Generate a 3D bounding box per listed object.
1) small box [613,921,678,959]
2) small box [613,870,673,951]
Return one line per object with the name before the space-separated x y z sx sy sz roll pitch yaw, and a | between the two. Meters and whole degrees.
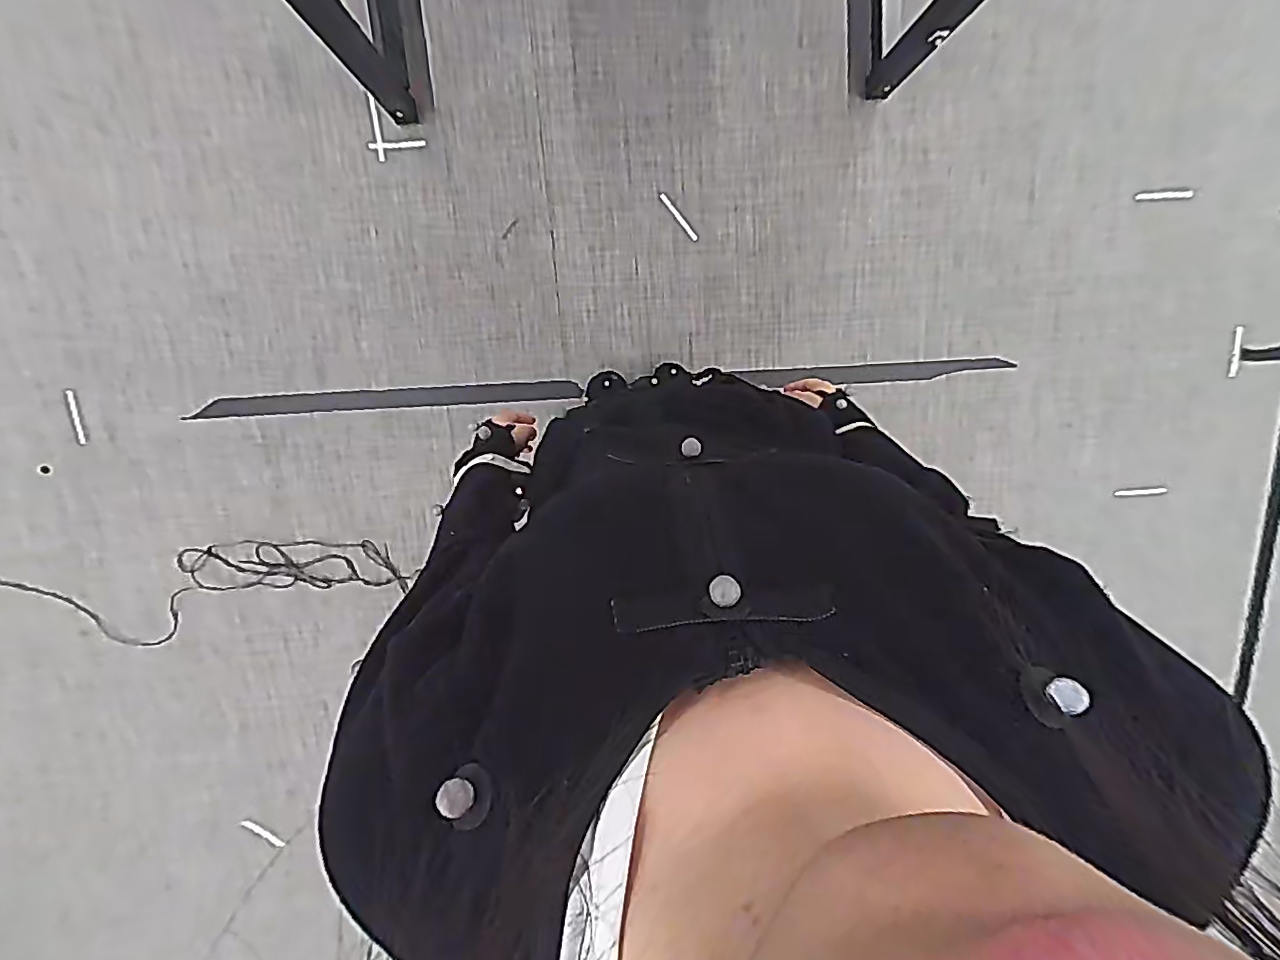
small box | 0.017 1.430 1.573 0.179 0.176 0.168 6 101 -5
small box | 0.006 1.387 1.731 0.179 0.176 0.168 2 102 -4
